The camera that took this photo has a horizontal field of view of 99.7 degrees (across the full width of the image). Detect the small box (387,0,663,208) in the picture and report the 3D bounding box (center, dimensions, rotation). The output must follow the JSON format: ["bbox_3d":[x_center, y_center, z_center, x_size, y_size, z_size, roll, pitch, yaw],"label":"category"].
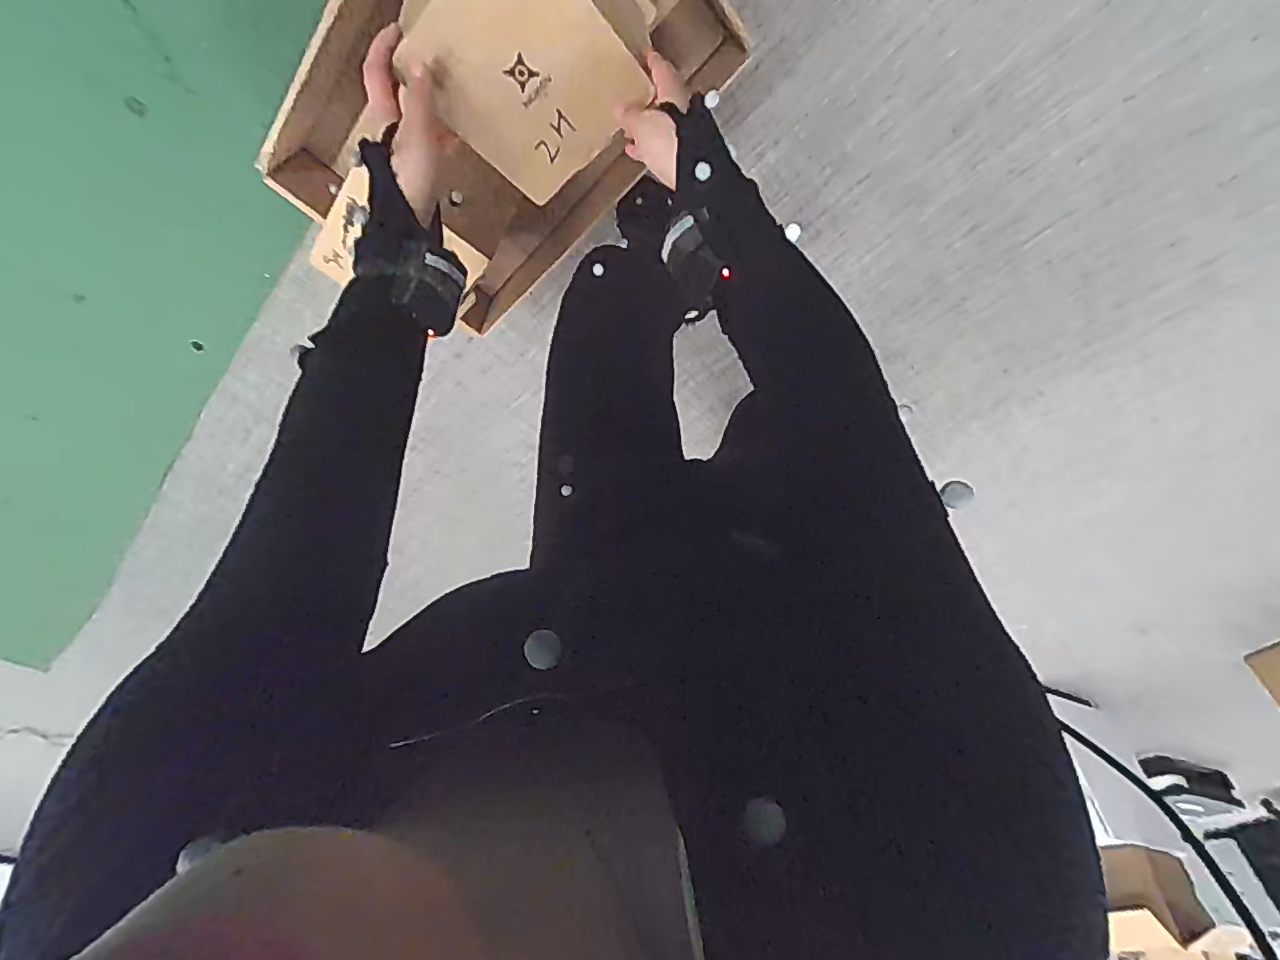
[{"bbox_3d":[-0.102,-0.410,0.502,0.168,0.176,0.179,-25,146,32],"label":"small box"}]
